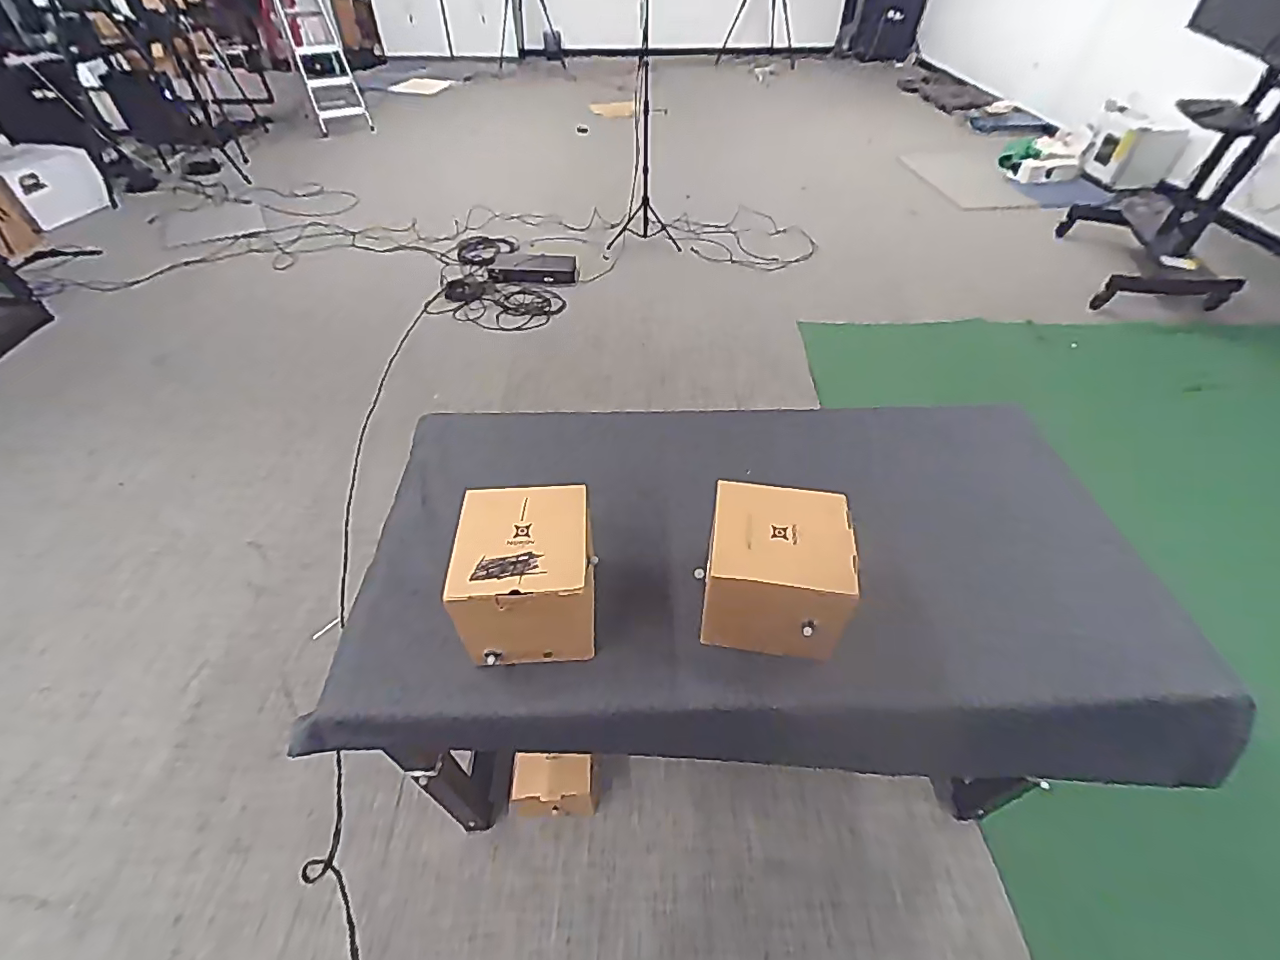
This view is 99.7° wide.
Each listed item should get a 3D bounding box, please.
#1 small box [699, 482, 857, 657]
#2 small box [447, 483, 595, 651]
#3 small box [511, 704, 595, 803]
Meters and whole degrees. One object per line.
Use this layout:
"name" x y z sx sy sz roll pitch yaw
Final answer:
"small box" 0.182 0.128 0.752 0.179 0.176 0.168 6 46 7
"small box" -0.148 0.124 0.746 0.168 0.176 0.179 -1 45 -2
"small box" -0.193 0.642 1.263 0.168 0.176 0.179 0 47 -1
